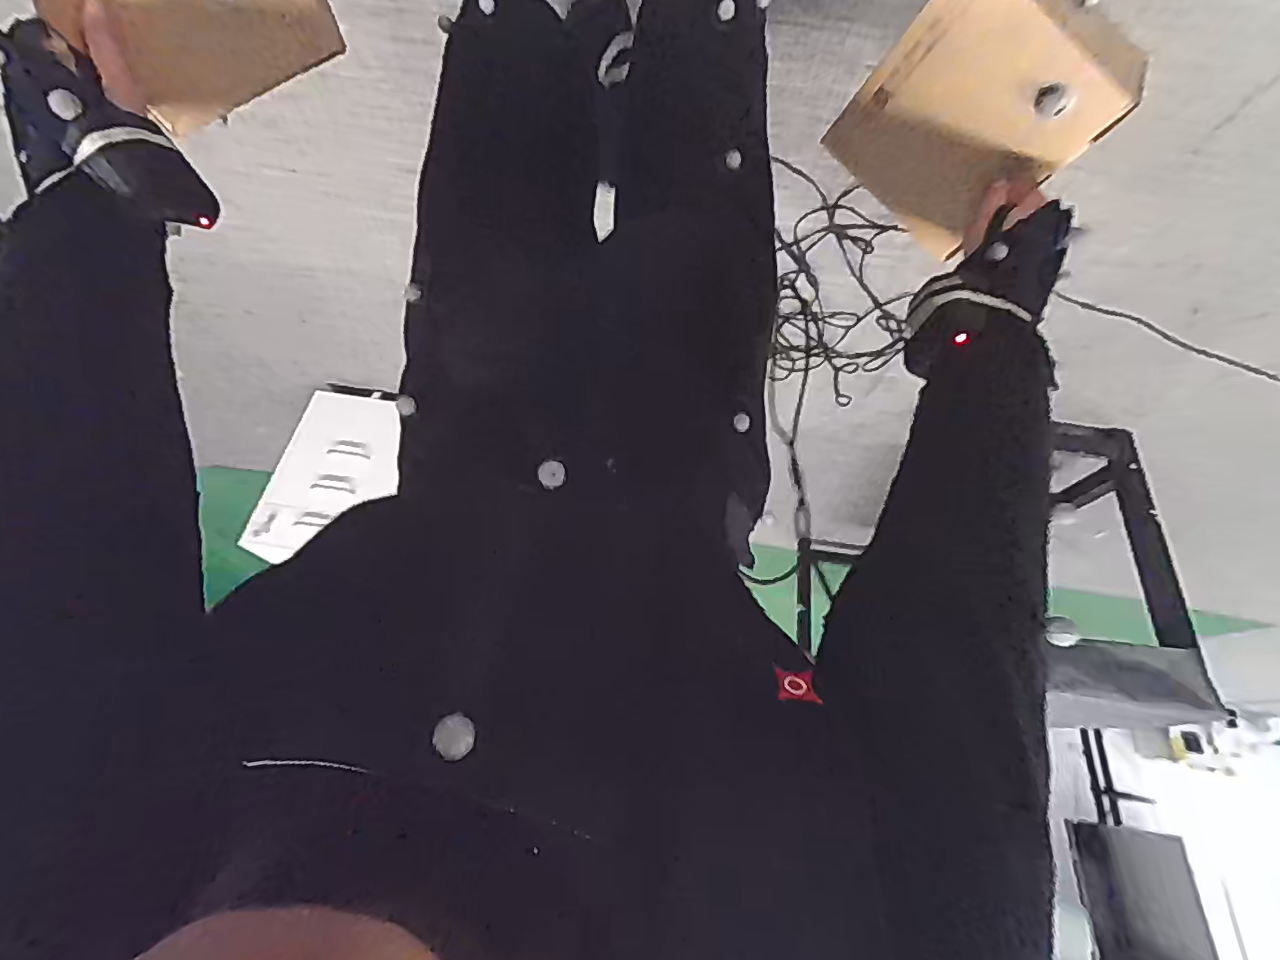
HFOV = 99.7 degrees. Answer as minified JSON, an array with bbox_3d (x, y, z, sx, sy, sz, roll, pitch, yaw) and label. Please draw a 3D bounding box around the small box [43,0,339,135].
[{"bbox_3d":[-0.374,-0.427,0.434,0.176,0.179,0.168,-30,146,-1],"label":"small box"}]
